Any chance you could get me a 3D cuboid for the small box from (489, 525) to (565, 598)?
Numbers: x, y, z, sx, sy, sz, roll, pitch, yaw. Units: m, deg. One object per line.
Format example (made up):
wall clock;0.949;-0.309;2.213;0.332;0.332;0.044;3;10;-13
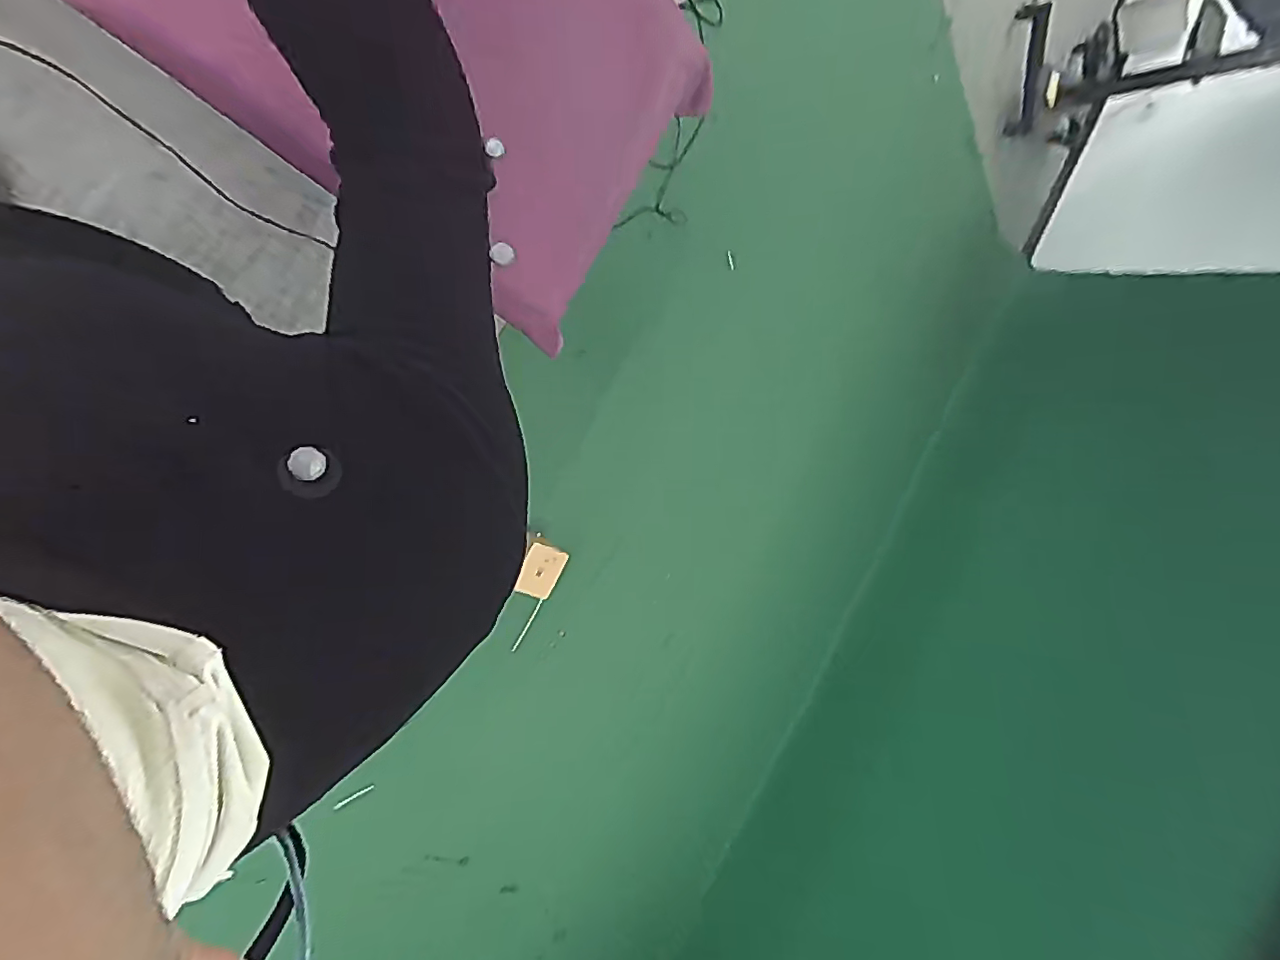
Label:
small box;-0.402;0.281;1.886;0.168;0.176;0.179;32;85;-43
